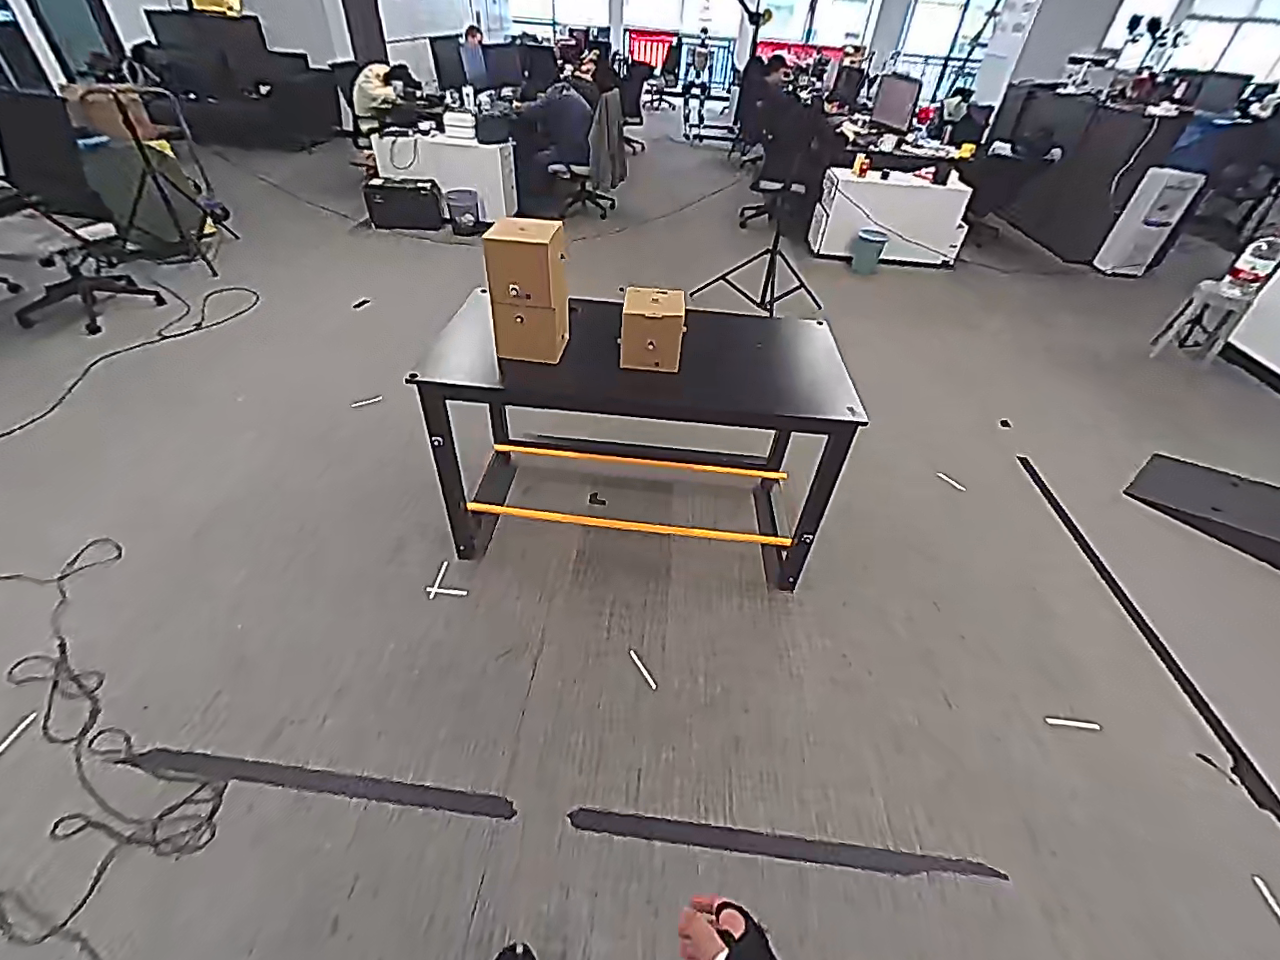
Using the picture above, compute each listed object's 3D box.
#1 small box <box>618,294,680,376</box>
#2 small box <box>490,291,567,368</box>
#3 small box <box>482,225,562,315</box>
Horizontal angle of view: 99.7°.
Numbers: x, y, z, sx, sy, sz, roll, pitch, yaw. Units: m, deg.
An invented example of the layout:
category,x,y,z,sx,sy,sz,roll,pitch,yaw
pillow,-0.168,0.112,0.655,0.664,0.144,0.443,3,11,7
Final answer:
category,x,y,z,sx,sy,sz,roll,pitch,yaw
small box,0.027,-0.412,1.542,0.168,0.176,0.179,4,41,0
small box,-0.309,-0.433,1.534,0.179,0.176,0.168,7,41,1
small box,-0.302,-0.555,1.426,0.168,0.176,0.179,5,42,2
